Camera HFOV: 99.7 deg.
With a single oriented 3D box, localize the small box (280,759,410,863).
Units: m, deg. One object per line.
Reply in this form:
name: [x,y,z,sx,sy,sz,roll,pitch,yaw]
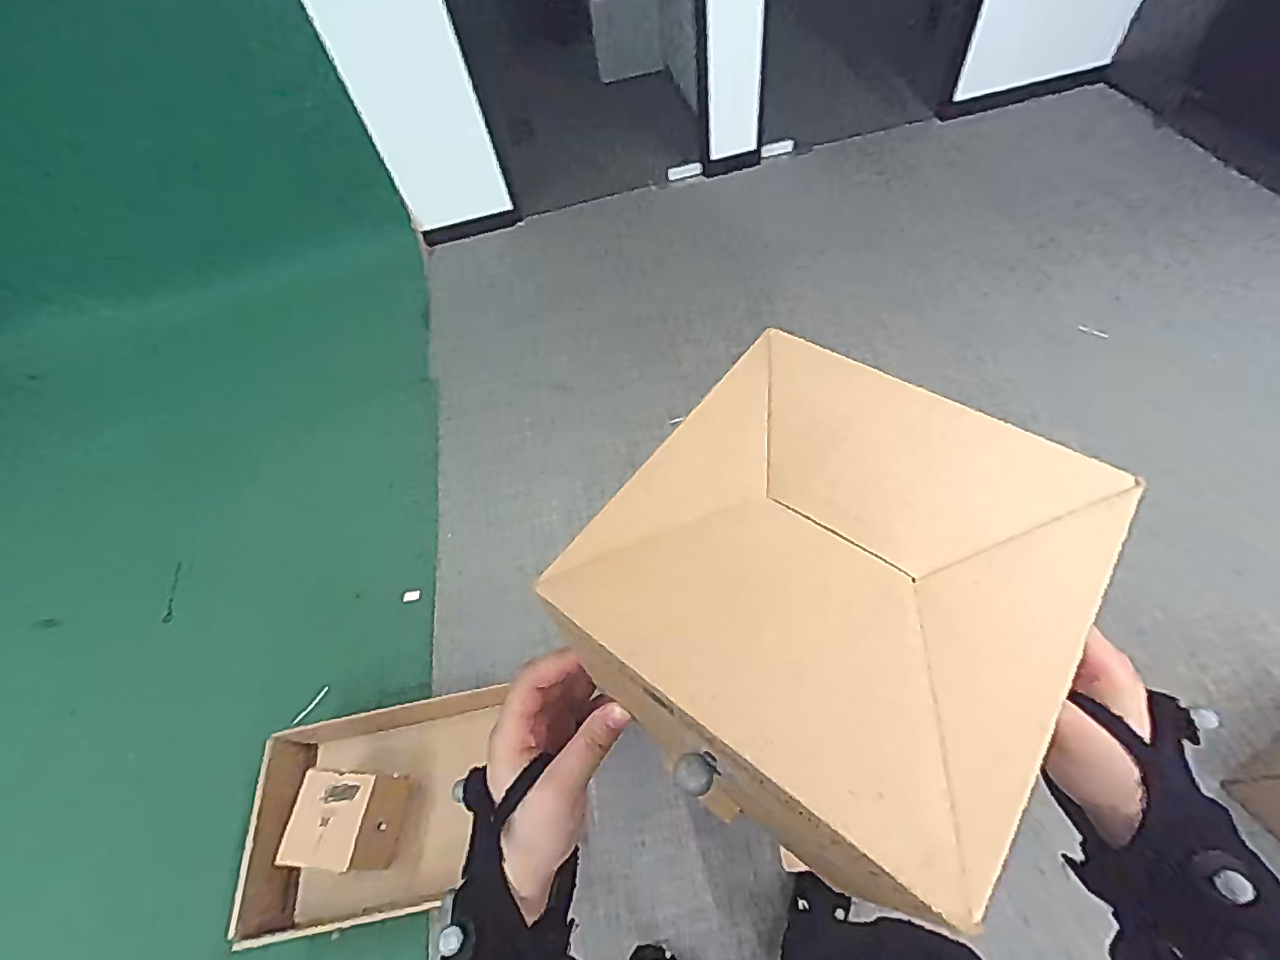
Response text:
small box: [-0.643,0.739,1.207,0.168,0.176,0.179,1,57,8]
